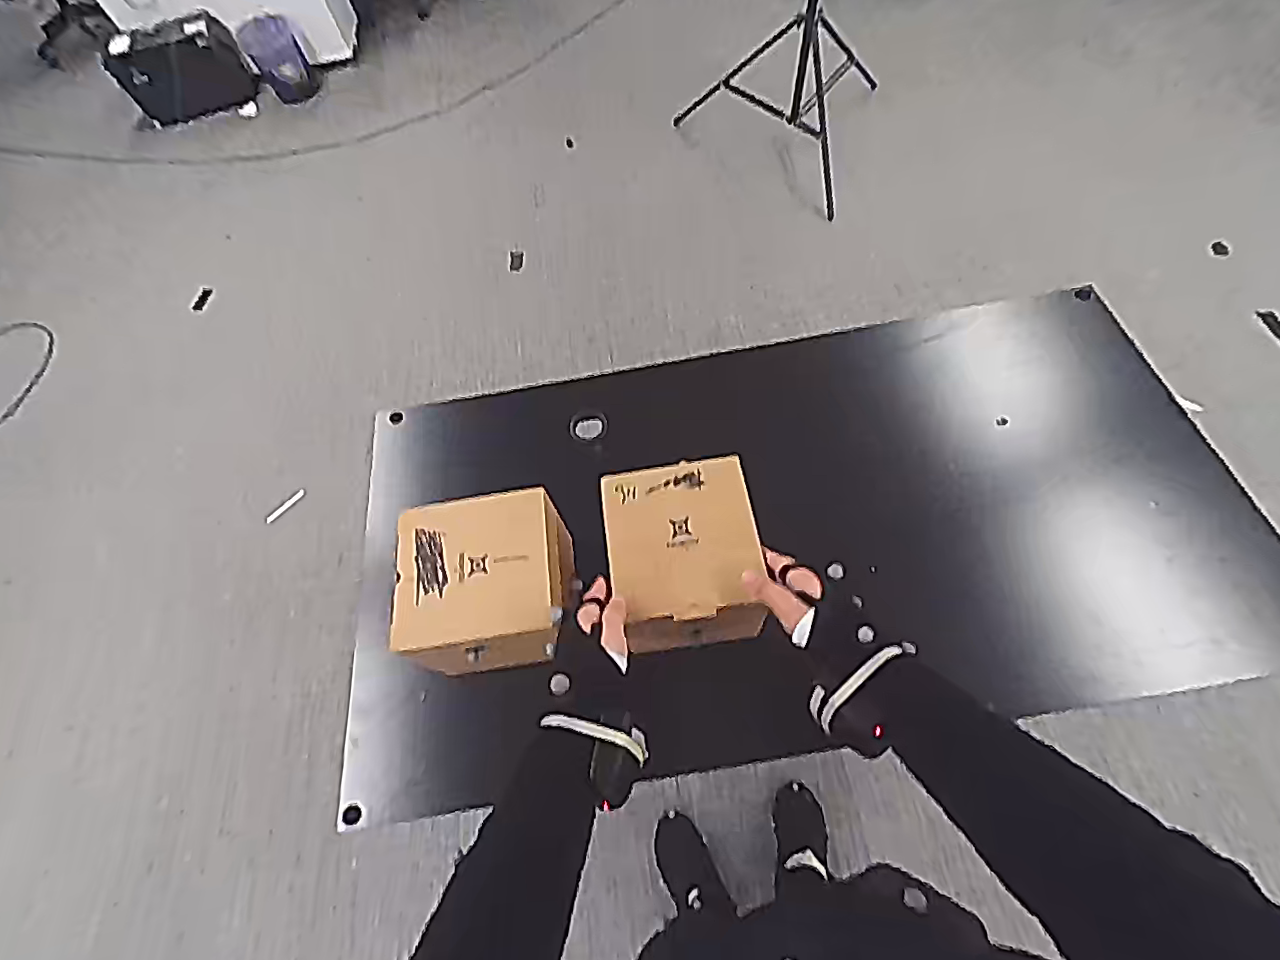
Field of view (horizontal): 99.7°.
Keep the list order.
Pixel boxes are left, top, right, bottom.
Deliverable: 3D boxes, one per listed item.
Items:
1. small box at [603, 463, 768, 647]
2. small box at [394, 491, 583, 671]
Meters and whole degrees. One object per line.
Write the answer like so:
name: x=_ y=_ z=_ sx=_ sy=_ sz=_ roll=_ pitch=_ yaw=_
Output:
small box: x=0.053 y=0.102 z=0.668 sx=0.168 sy=0.176 sz=0.179 roll=-8 pitch=63 yaw=2
small box: x=-0.177 y=0.133 z=0.674 sx=0.179 sy=0.176 sz=0.168 roll=-9 pitch=63 yaw=0
